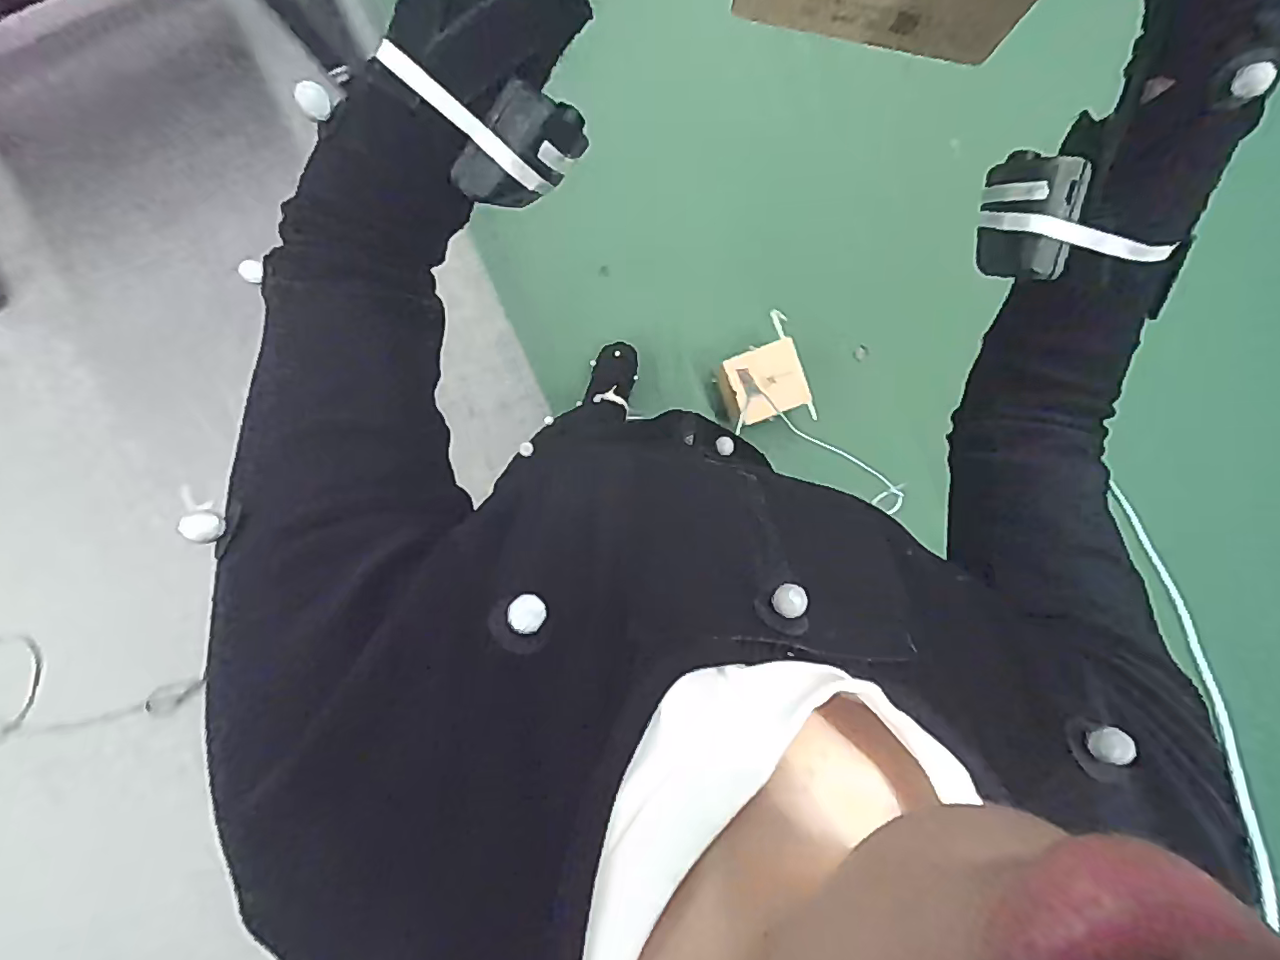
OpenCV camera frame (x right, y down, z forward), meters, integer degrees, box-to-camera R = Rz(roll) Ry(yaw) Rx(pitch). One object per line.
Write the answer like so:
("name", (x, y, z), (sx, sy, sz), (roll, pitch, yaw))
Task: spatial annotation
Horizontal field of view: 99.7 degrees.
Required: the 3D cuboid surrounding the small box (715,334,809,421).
("small box", (0.300, -0.251, 1.377), (0.179, 0.176, 0.168), (-21, 97, 0))
